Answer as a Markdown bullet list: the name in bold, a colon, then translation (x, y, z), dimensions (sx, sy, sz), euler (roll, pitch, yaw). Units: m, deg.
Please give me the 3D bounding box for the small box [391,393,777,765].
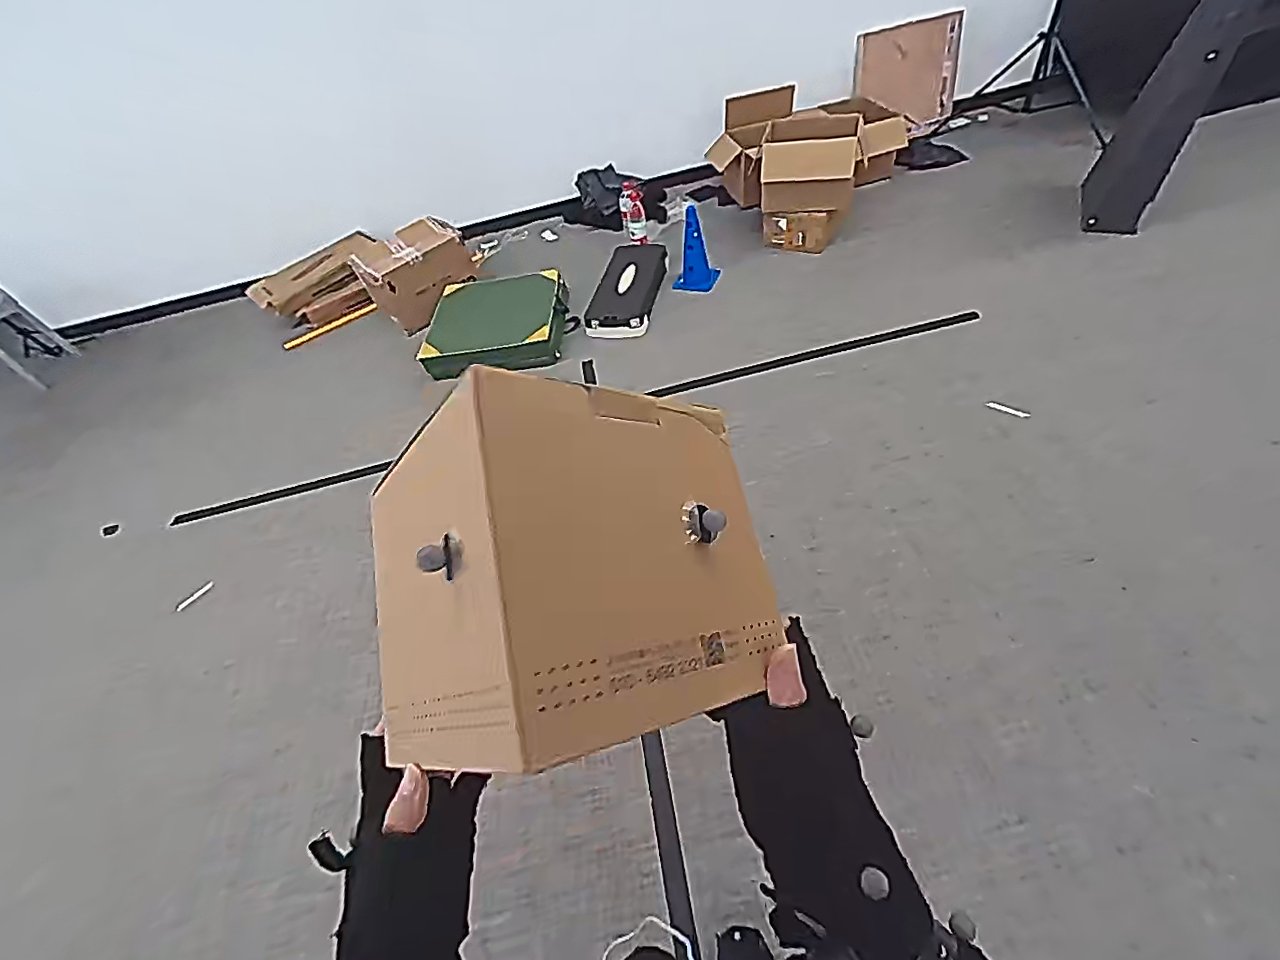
- **small box**: translation (-0.042, 0.068, 0.341), dimensions (0.168, 0.179, 0.176), euler (4, 65, -41)
